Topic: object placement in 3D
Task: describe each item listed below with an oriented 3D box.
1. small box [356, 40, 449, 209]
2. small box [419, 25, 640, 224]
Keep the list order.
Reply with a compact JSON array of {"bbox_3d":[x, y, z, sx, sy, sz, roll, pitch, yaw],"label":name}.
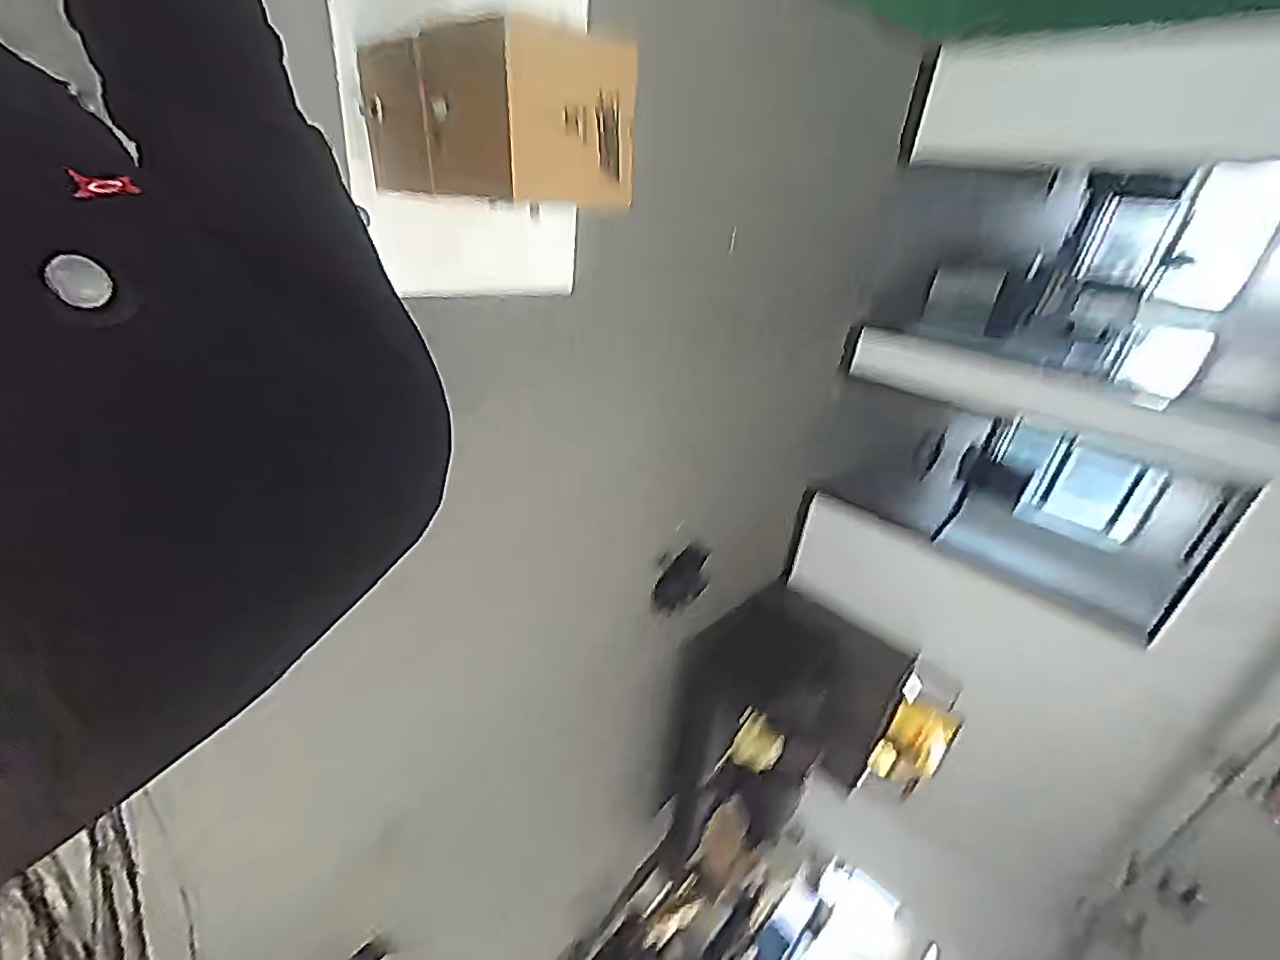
[{"bbox_3d":[-0.242,-0.456,0.715,0.179,0.176,0.168,-23,129,-39],"label":"small box"},{"bbox_3d":[-0.122,-0.396,0.620,0.179,0.176,0.168,-27,132,-39],"label":"small box"}]
